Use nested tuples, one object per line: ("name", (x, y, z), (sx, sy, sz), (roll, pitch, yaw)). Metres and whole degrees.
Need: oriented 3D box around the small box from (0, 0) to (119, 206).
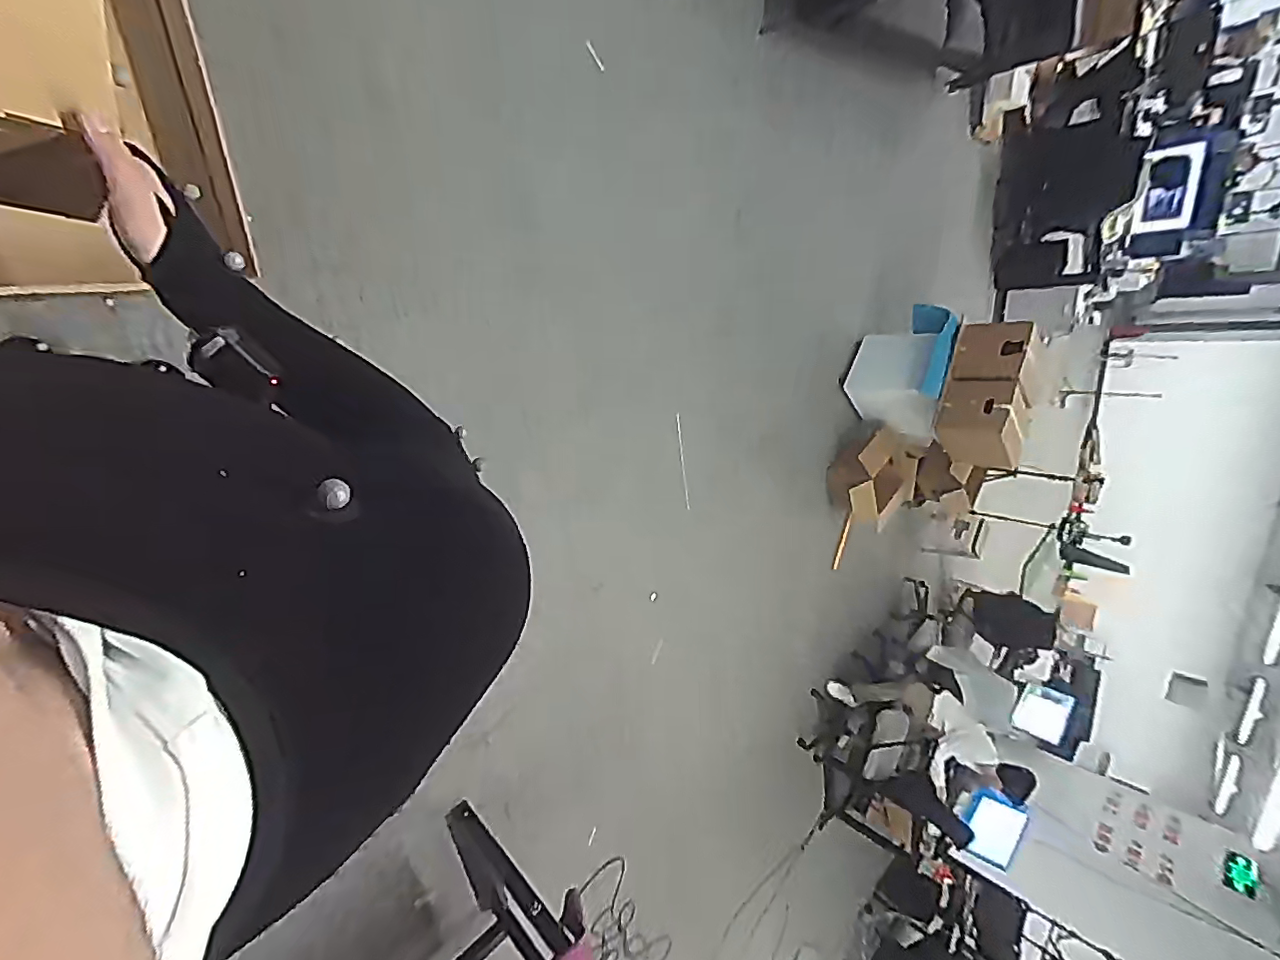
("small box", (-0.521, -0.339, 0.401), (0.168, 0.176, 0.179), (-9, 97, -49))
